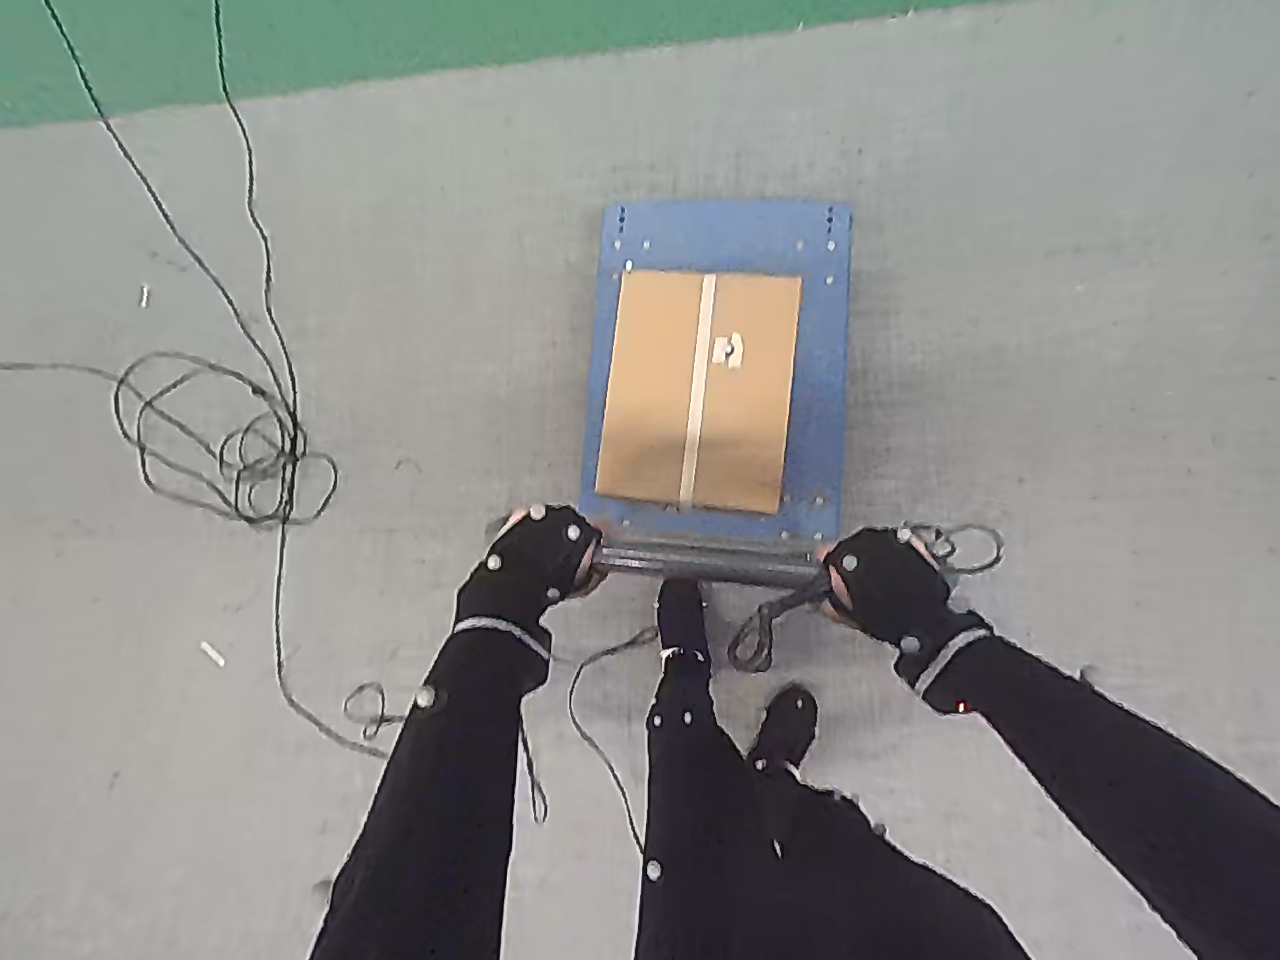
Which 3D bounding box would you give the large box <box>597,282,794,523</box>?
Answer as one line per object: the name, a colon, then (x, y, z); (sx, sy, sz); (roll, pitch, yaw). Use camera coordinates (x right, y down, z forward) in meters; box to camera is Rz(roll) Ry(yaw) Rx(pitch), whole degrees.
large box: (0.115, -0.130, 1.082); (0.320, 0.320, 0.408); (6, 84, 7)
